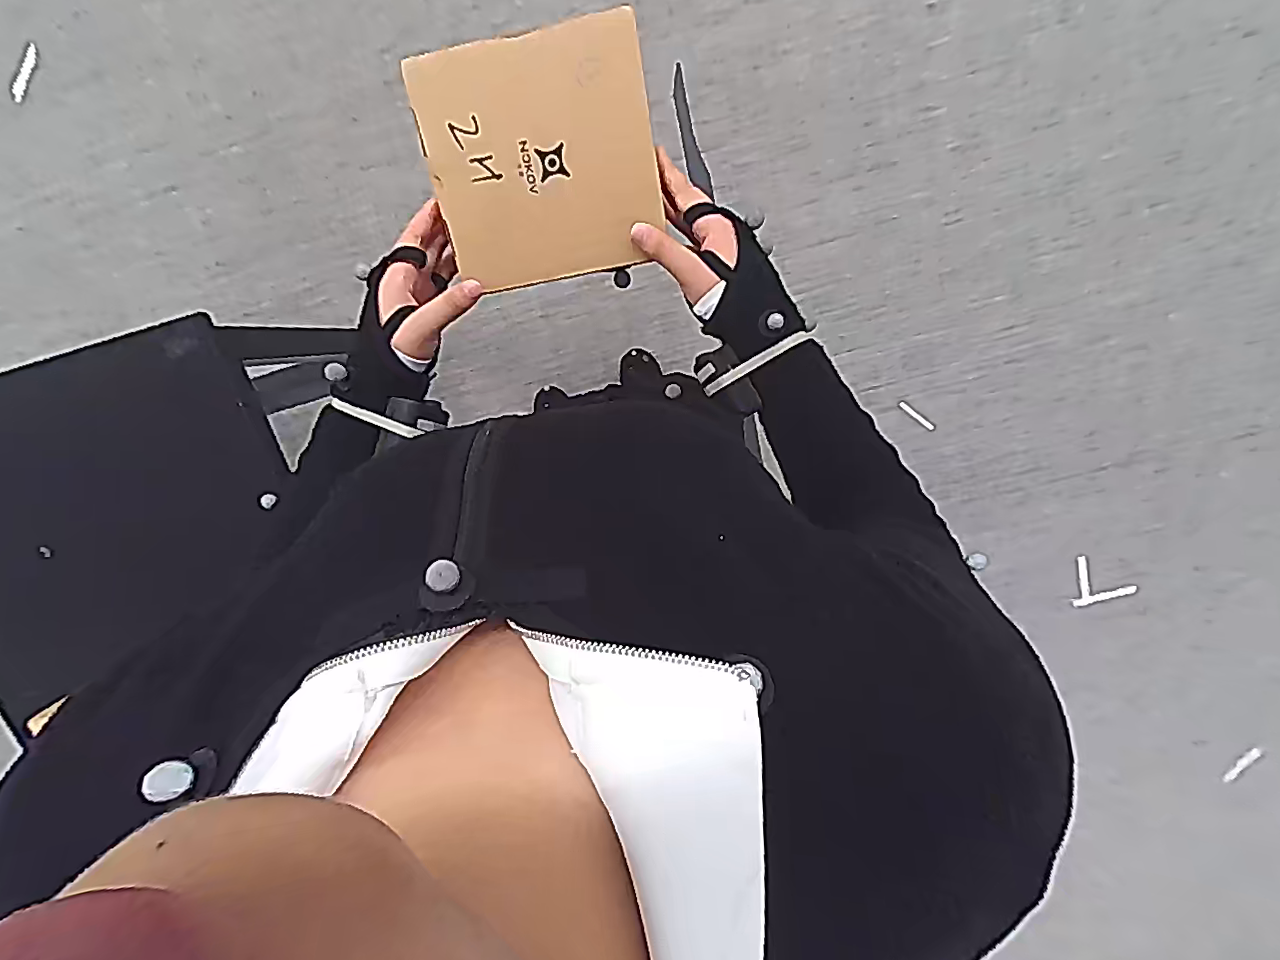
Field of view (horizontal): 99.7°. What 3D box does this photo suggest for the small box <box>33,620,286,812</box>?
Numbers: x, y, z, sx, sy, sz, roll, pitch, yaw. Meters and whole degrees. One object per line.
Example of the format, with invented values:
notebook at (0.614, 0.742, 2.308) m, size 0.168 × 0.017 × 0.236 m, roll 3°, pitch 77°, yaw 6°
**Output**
small box at (-0.663, 0.326, 0.772) m, size 0.179 × 0.176 × 0.168 m, roll -15°, pitch 105°, yaw 4°
